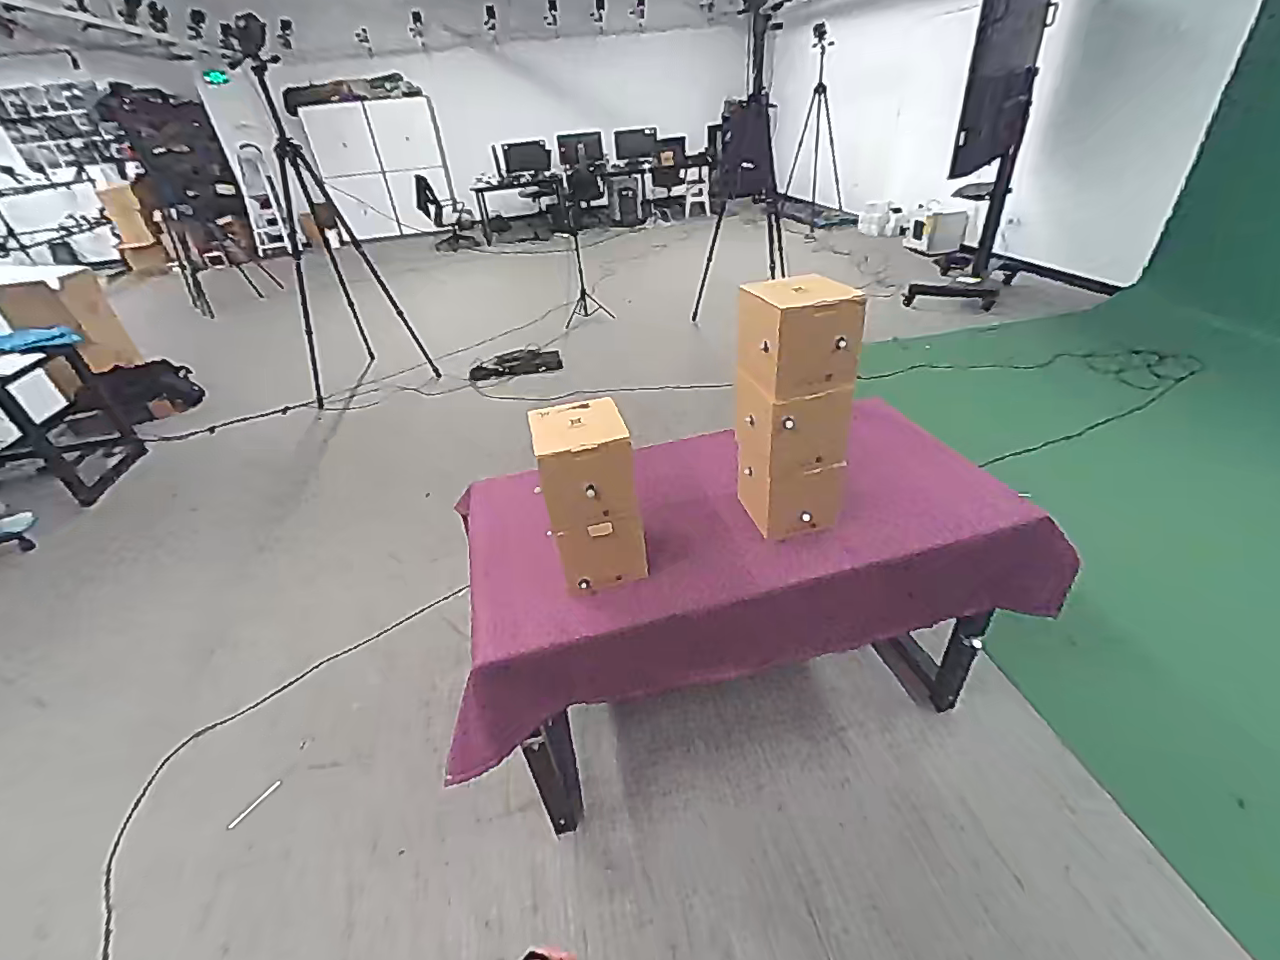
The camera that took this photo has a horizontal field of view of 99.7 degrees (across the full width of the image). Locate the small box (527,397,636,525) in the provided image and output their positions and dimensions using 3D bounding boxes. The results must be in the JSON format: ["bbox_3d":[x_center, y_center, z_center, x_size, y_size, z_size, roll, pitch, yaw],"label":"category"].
[{"bbox_3d":[-0.109,-0.032,1.013,0.168,0.176,0.179,-12,36,-9],"label":"small box"}]

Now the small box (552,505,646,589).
[{"bbox_3d":[-0.090,0.103,1.106,0.168,0.176,0.179,-13,34,-10],"label":"small box"}]

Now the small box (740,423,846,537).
[{"bbox_3d":[0.323,-0.001,1.184,0.168,0.176,0.179,-12,35,-7],"label":"small box"}]

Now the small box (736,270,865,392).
[{"bbox_3d":[0.288,-0.273,1.004,0.168,0.176,0.179,-13,34,-10],"label":"small box"}]
